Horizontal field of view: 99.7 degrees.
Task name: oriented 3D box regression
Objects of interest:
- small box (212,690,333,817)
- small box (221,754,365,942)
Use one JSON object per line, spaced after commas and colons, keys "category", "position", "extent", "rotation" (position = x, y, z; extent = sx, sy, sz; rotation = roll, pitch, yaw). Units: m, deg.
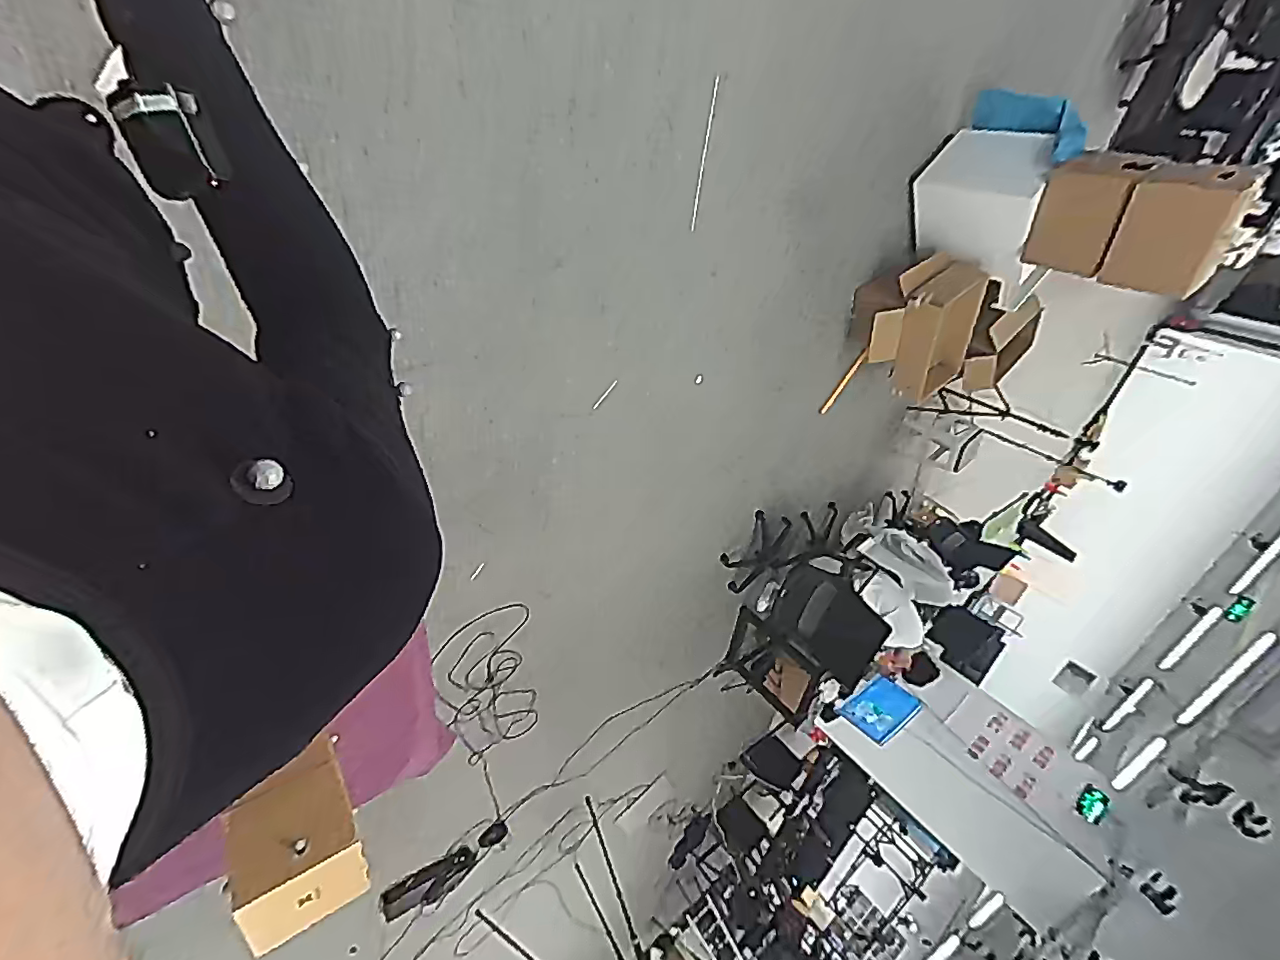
{"category": "small box", "position": [-0.696, 0.544, 1.037], "extent": [0.179, 0.176, 0.168], "rotation": [-15, 130, -36]}
{"category": "small box", "position": [-0.599, 0.622, 0.933], "extent": [0.179, 0.176, 0.168], "rotation": [-16, 129, -36]}
